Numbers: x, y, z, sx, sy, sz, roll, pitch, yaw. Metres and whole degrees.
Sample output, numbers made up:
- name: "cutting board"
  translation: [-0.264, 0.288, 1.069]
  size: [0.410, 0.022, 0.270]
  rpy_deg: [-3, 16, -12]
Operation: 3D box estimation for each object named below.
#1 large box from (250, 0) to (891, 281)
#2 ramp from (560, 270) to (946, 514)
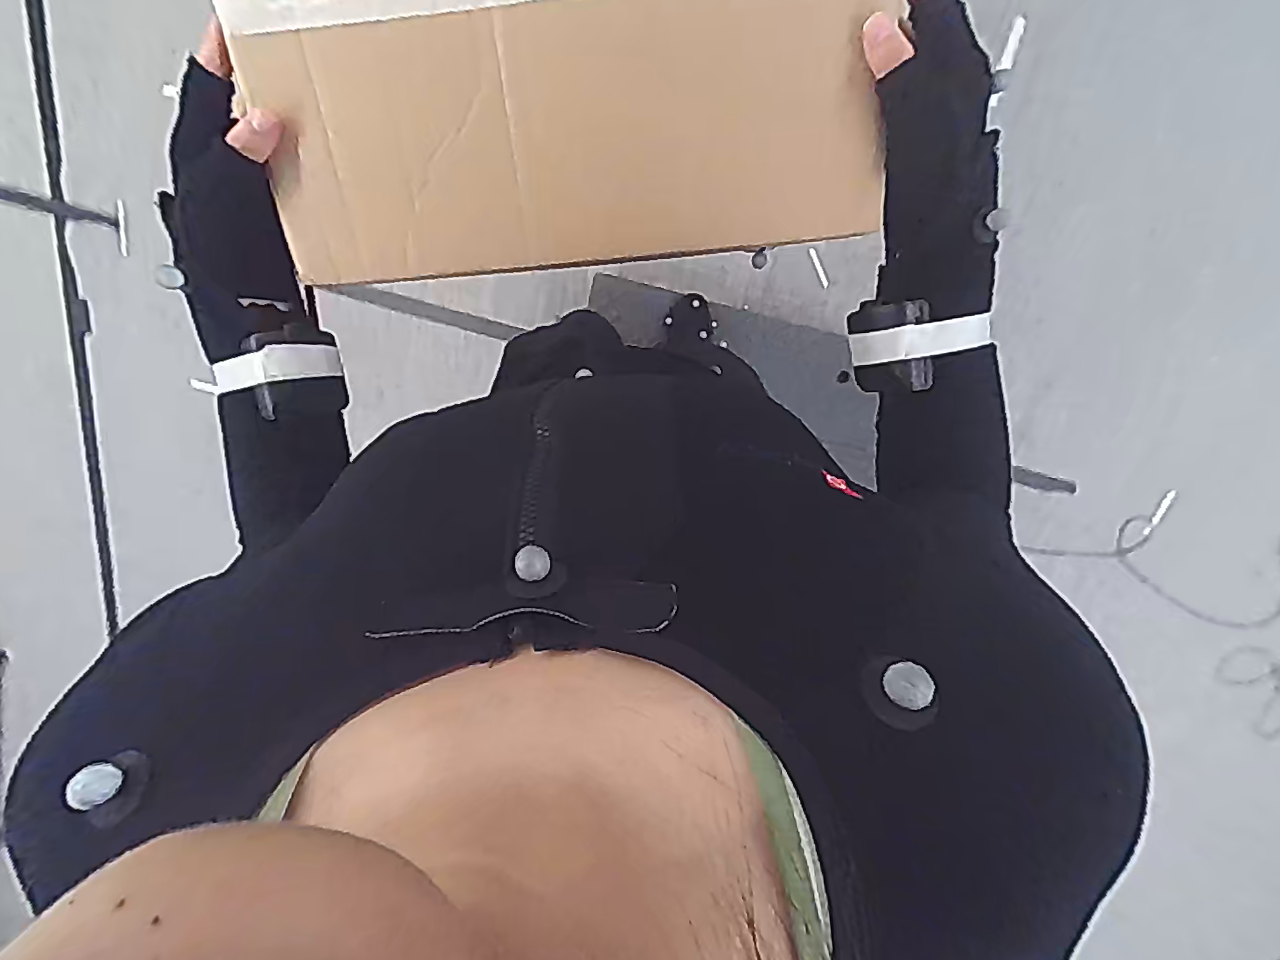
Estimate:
- name: "large box"
  translation: [-0.040, -0.360, 0.467]
  size: [0.408, 0.320, 0.320]
  rpy_deg: [-3, 112, 3]
- name: "ramp"
  translation: [0.313, -0.212, 1.494]
  size: [0.991, 0.206, 0.509]
  rpy_deg: [13, 109, 1]
